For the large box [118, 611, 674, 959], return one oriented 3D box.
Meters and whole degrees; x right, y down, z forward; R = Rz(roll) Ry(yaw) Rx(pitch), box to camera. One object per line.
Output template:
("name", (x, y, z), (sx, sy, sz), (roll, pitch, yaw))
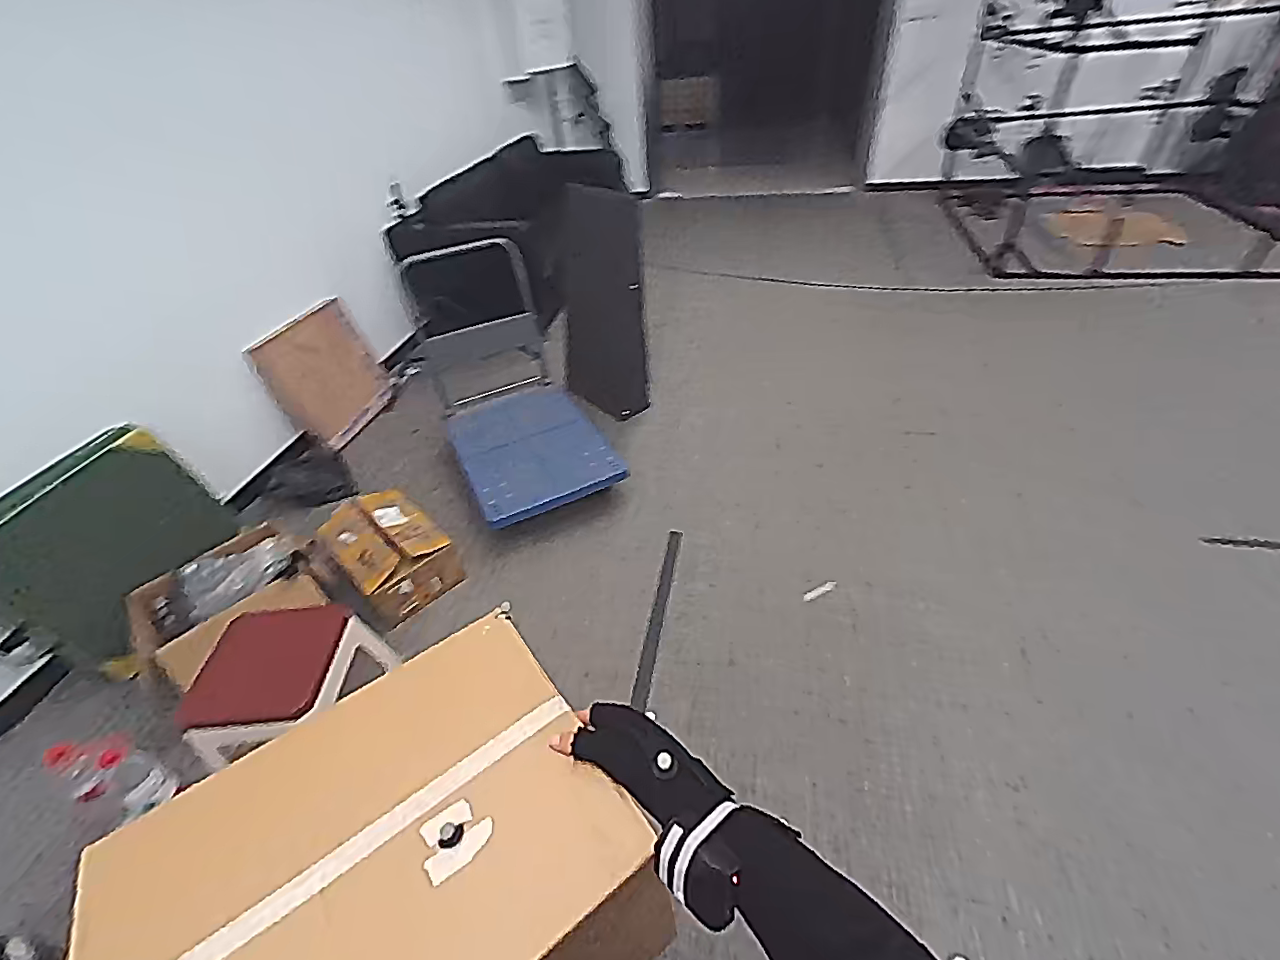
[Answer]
("large box", (-0.215, 0.428, 0.569), (0.408, 0.320, 0.320), (-27, 44, -24))
